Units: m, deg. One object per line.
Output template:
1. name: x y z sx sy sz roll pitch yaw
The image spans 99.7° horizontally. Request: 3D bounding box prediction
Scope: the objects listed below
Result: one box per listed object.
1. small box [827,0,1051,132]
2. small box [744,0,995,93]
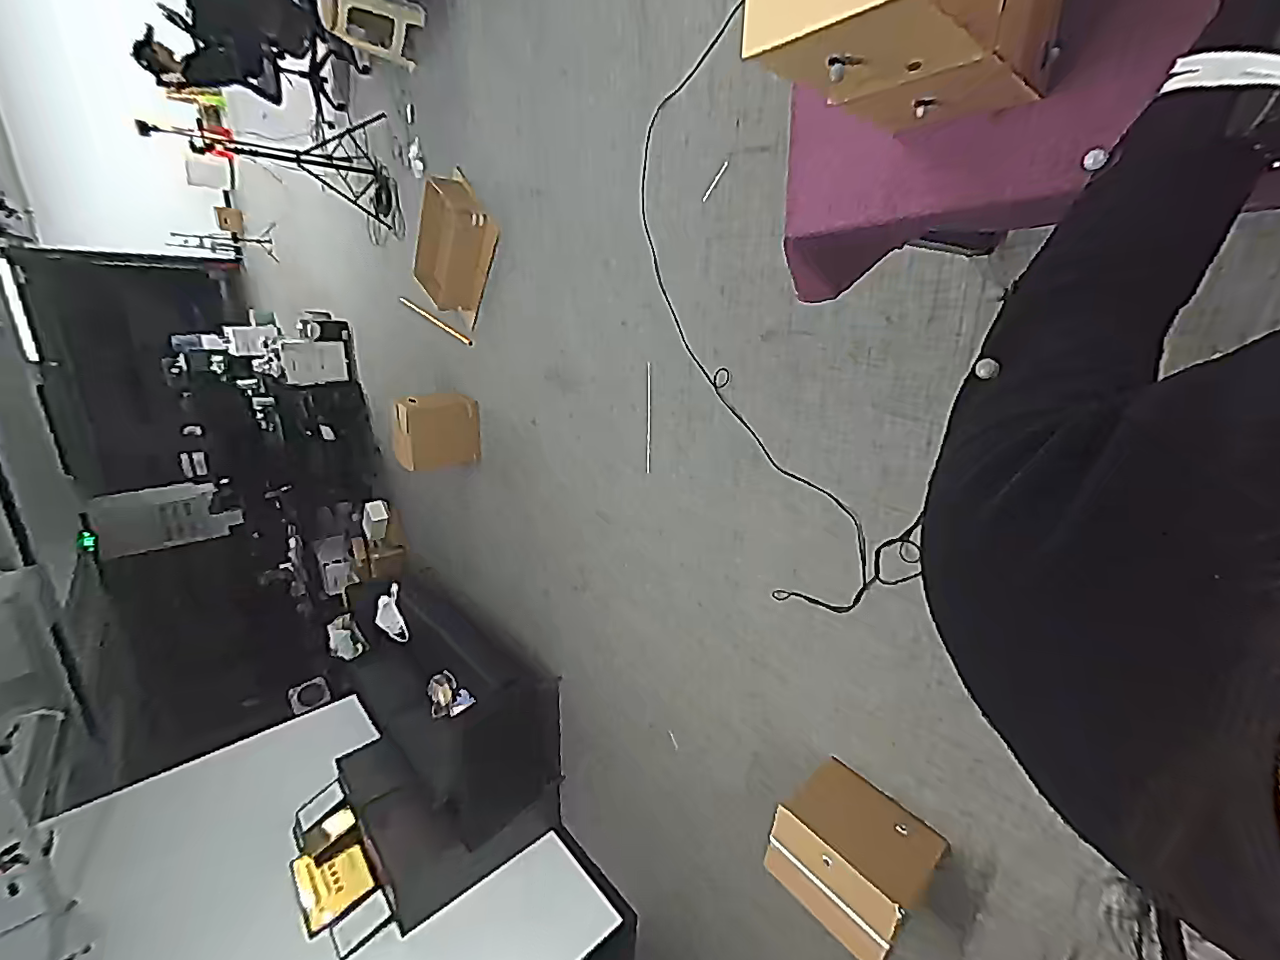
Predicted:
1. small box: 0.336 -0.512 0.600 0.179 0.176 0.168 18 114 46
2. small box: 0.217 -0.484 0.493 0.168 0.176 0.179 19 114 45
